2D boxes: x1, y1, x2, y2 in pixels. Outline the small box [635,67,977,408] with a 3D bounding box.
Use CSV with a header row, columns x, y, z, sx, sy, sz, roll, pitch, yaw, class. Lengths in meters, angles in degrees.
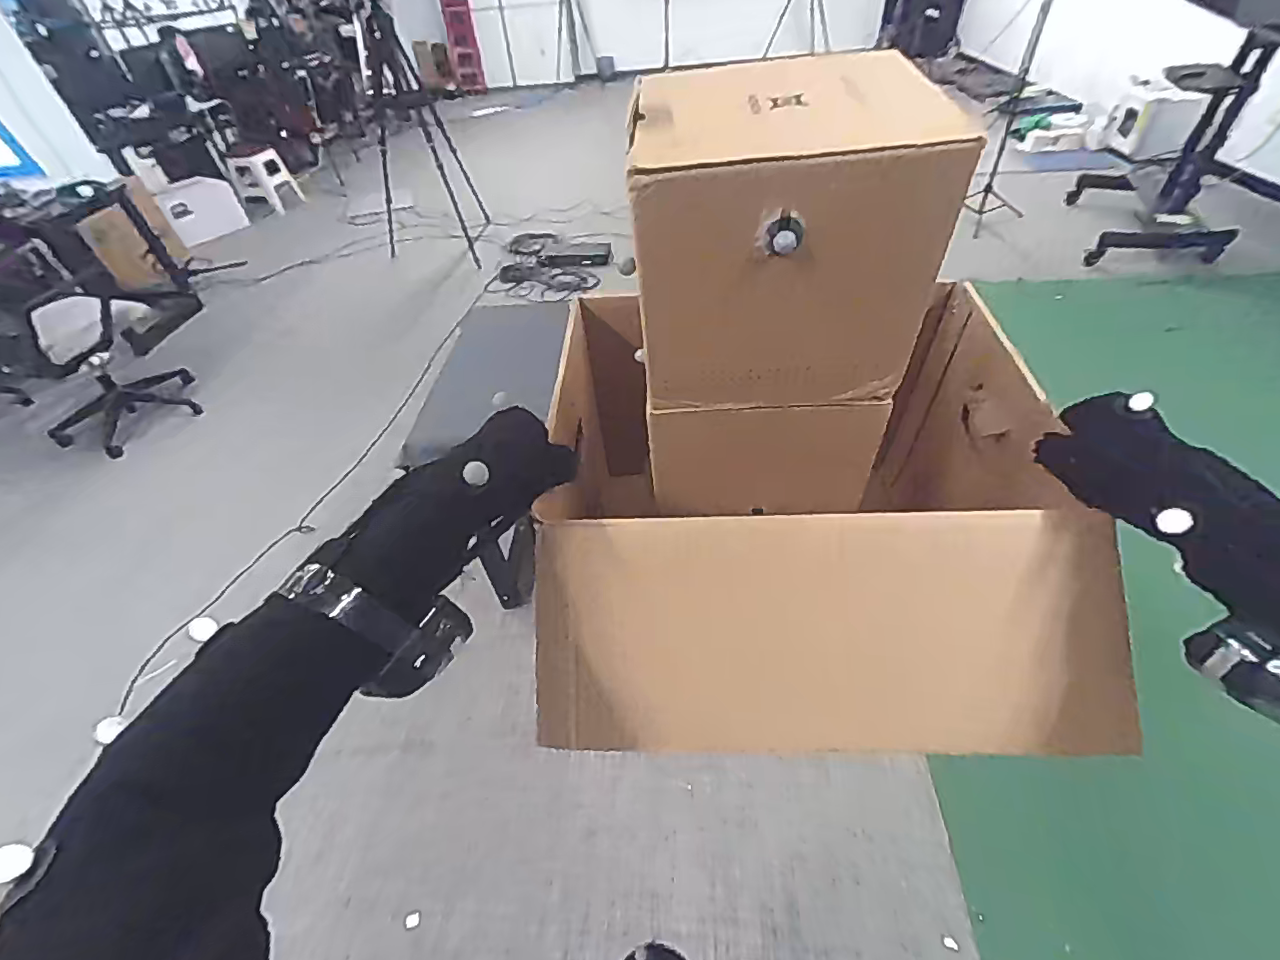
x,y,z,sx,sy,sz,roll,pitch,yaw,class
0.092,-0.165,0.387,0.179,0.176,0.168,-2,50,4,small box
